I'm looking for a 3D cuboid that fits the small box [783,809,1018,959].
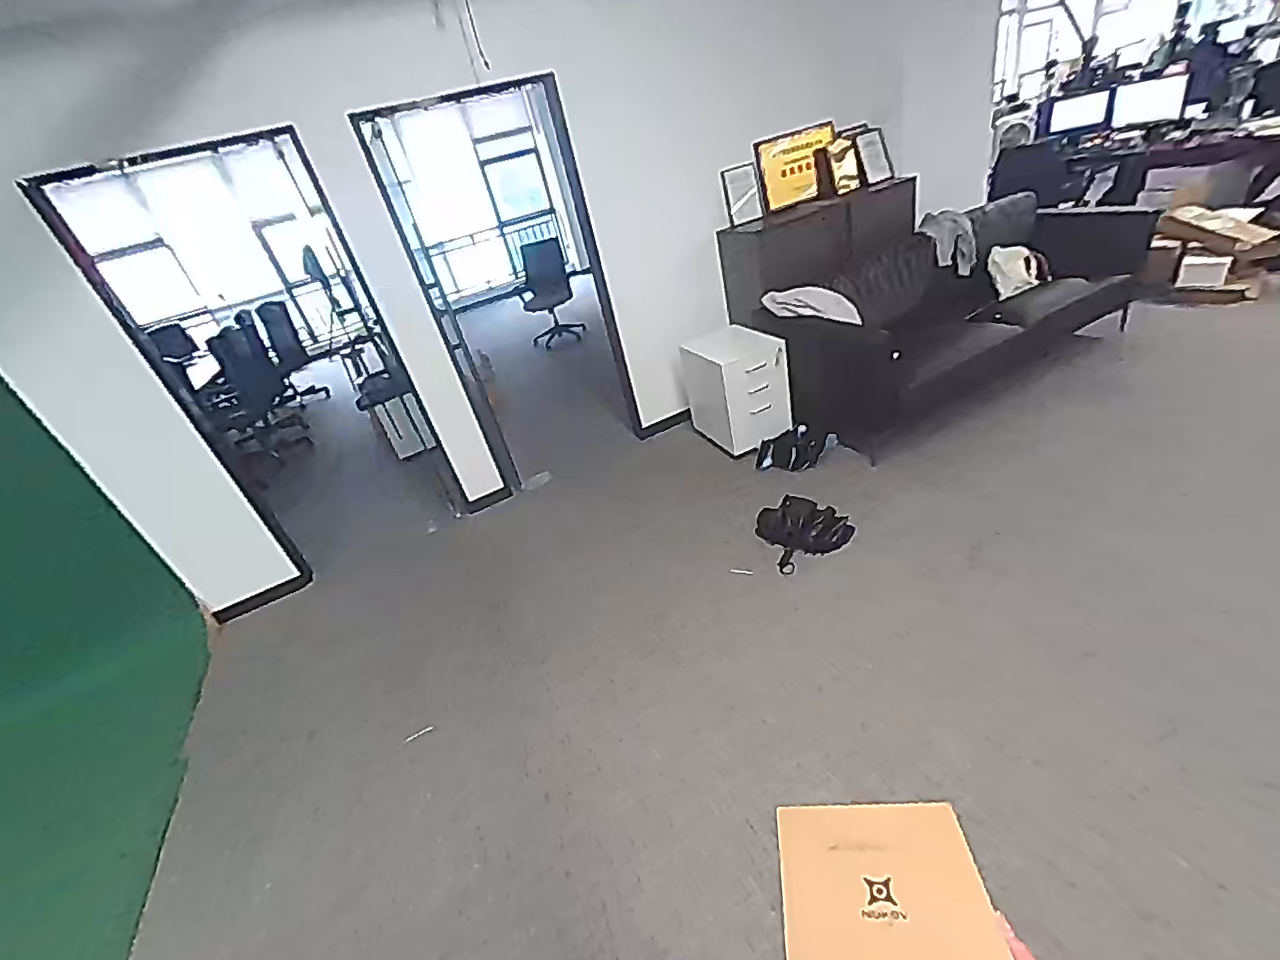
[{"bbox_3d":[0.224,0.427,0.471,0.168,0.176,0.179,-9,15,13],"label":"small box"}]
